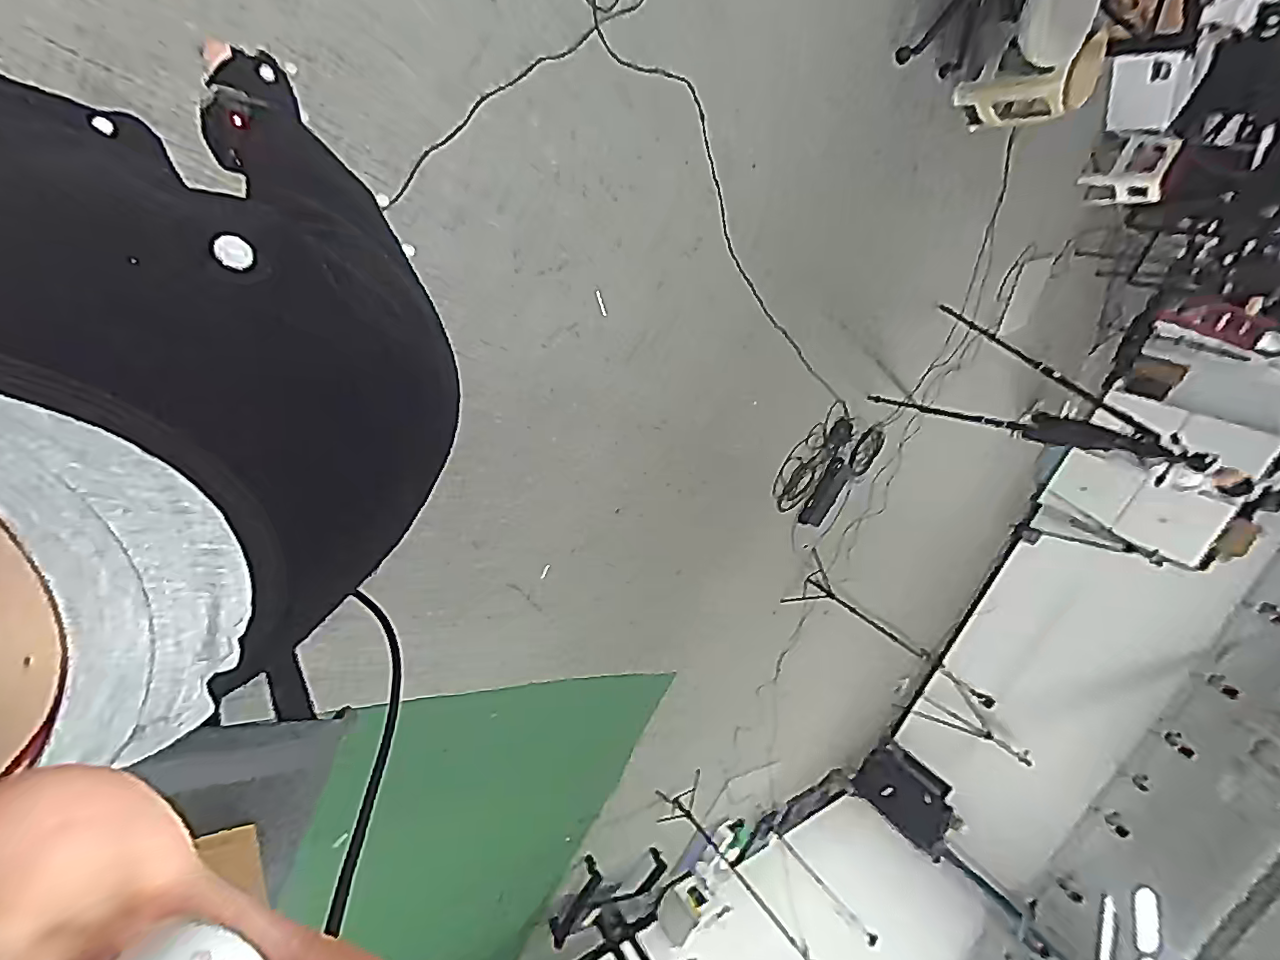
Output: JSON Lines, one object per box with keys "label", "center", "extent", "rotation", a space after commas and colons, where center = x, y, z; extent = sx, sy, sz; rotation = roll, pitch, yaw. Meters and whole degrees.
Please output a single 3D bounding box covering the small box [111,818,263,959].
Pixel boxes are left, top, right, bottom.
{"label": "small box", "center": [-0.775, 0.730, 0.924], "extent": [0.168, 0.176, 0.179], "rotation": [11, 110, -48]}
